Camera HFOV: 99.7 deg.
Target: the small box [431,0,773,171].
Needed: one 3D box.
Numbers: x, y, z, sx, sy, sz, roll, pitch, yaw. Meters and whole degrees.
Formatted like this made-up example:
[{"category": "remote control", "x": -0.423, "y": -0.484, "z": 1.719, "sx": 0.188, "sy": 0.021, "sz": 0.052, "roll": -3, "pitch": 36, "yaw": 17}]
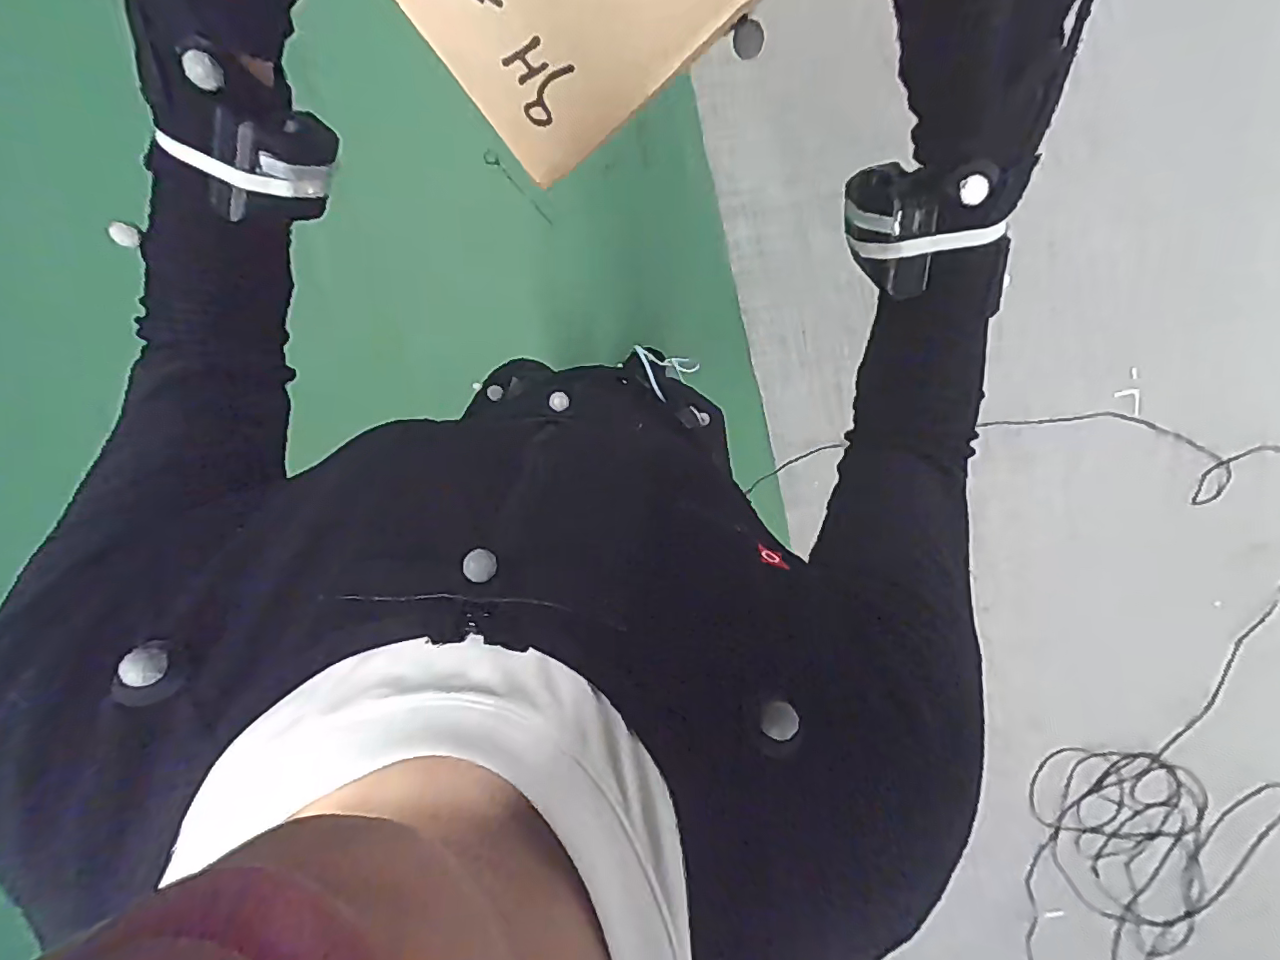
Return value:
[{"category": "small box", "x": -0.002, "y": -0.265, "z": 0.209, "sx": 0.179, "sy": 0.176, "sz": 0.168, "roll": -25, "pitch": 120, "yaw": 30}]
